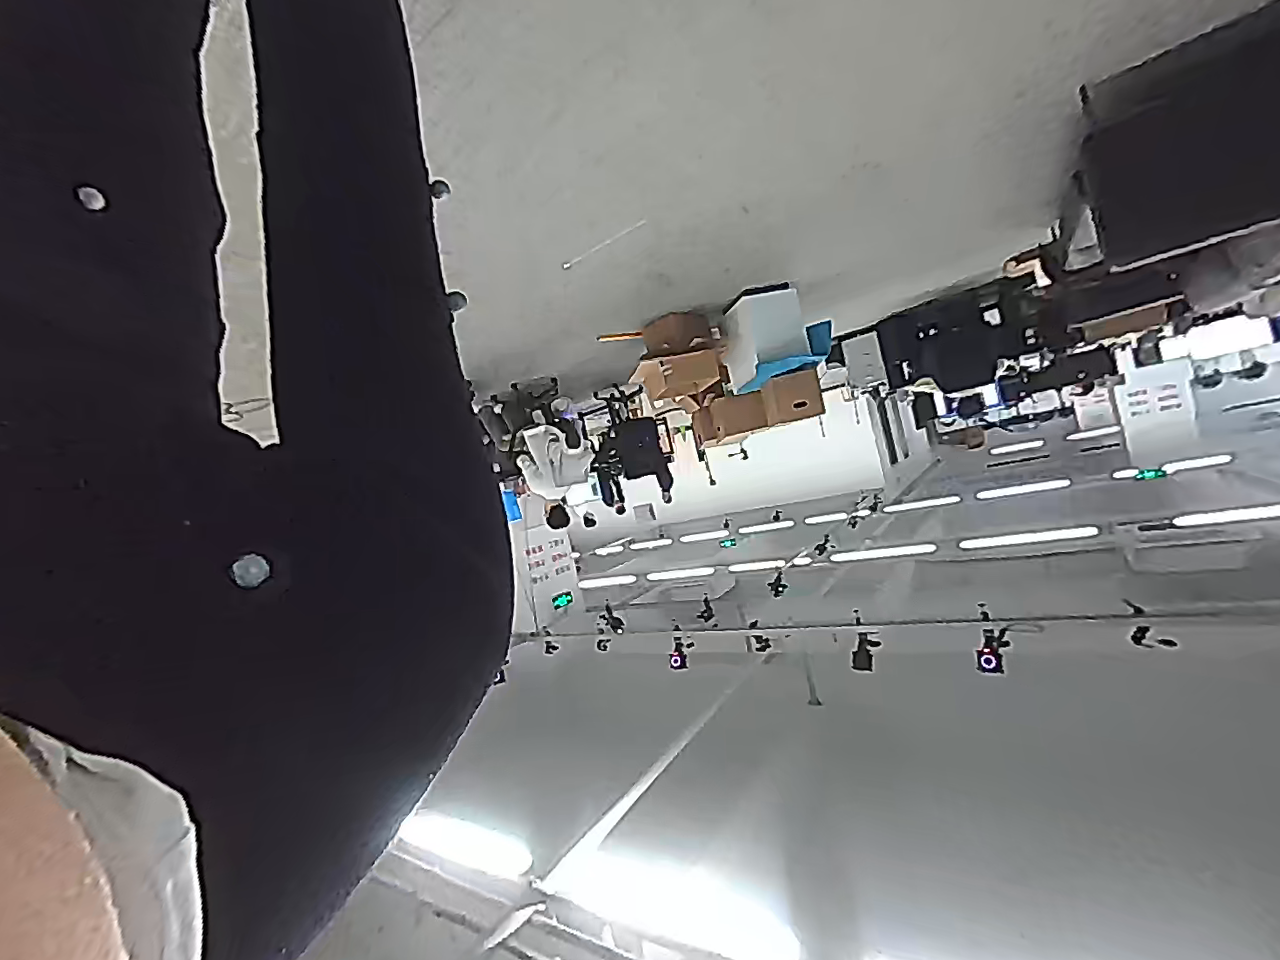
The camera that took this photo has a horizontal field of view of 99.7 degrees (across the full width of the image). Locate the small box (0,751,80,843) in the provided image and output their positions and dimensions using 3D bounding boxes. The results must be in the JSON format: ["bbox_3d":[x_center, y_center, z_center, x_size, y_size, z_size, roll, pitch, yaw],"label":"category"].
[{"bbox_3d":[-1.804,0.923,1.585,0.168,0.176,0.179,-12,-178,32],"label":"small box"}]
